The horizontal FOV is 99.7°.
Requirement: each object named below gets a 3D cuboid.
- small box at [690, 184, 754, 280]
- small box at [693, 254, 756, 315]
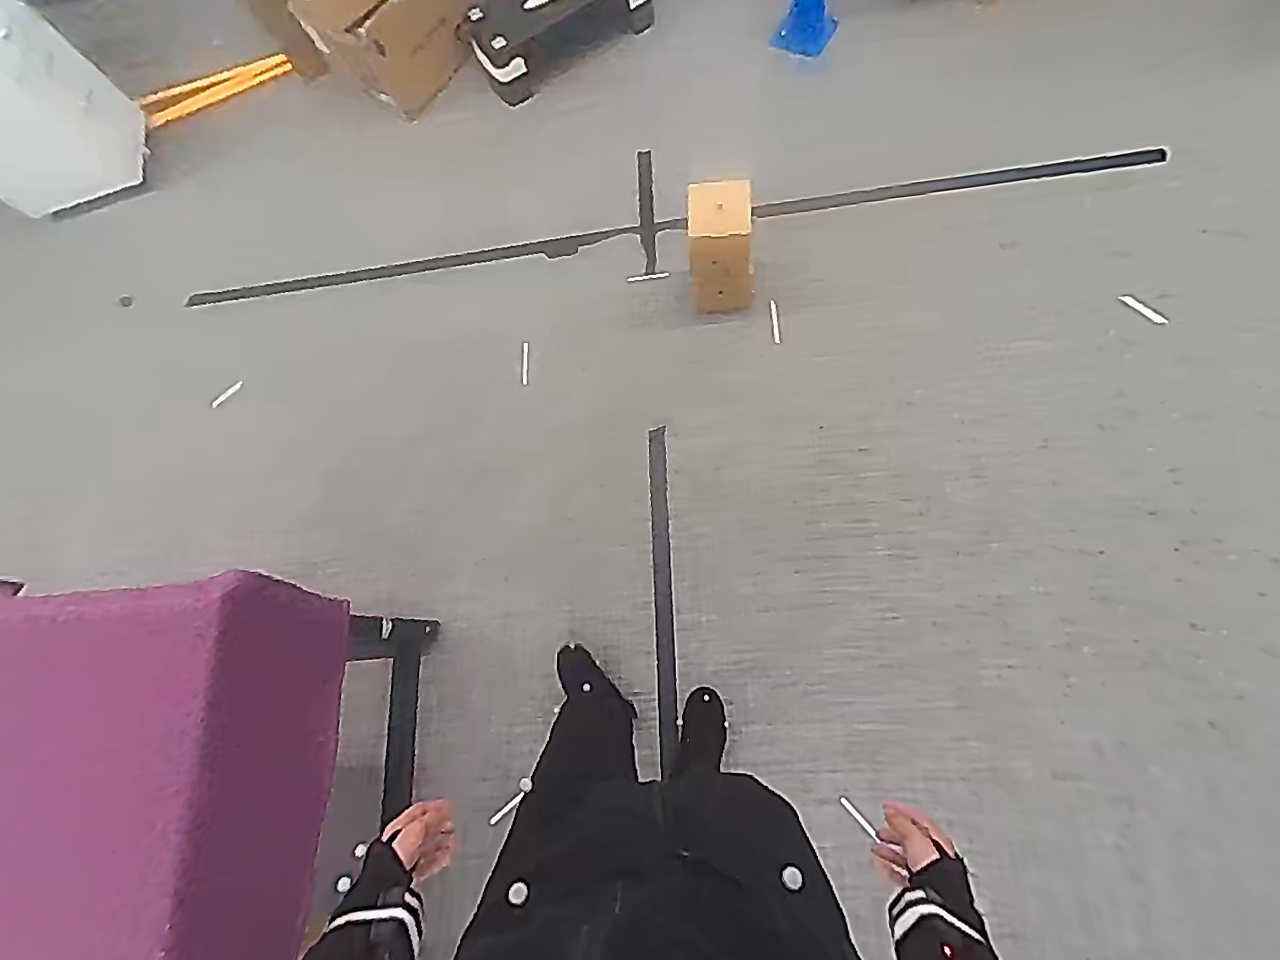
[{"bbox_3d":[0.225,-0.684,1.504,0.168,0.176,0.179,-1,74,8],"label":"small box"},{"bbox_3d":[0.252,-0.627,1.654,0.179,0.176,0.168,-6,73,7],"label":"small box"}]
